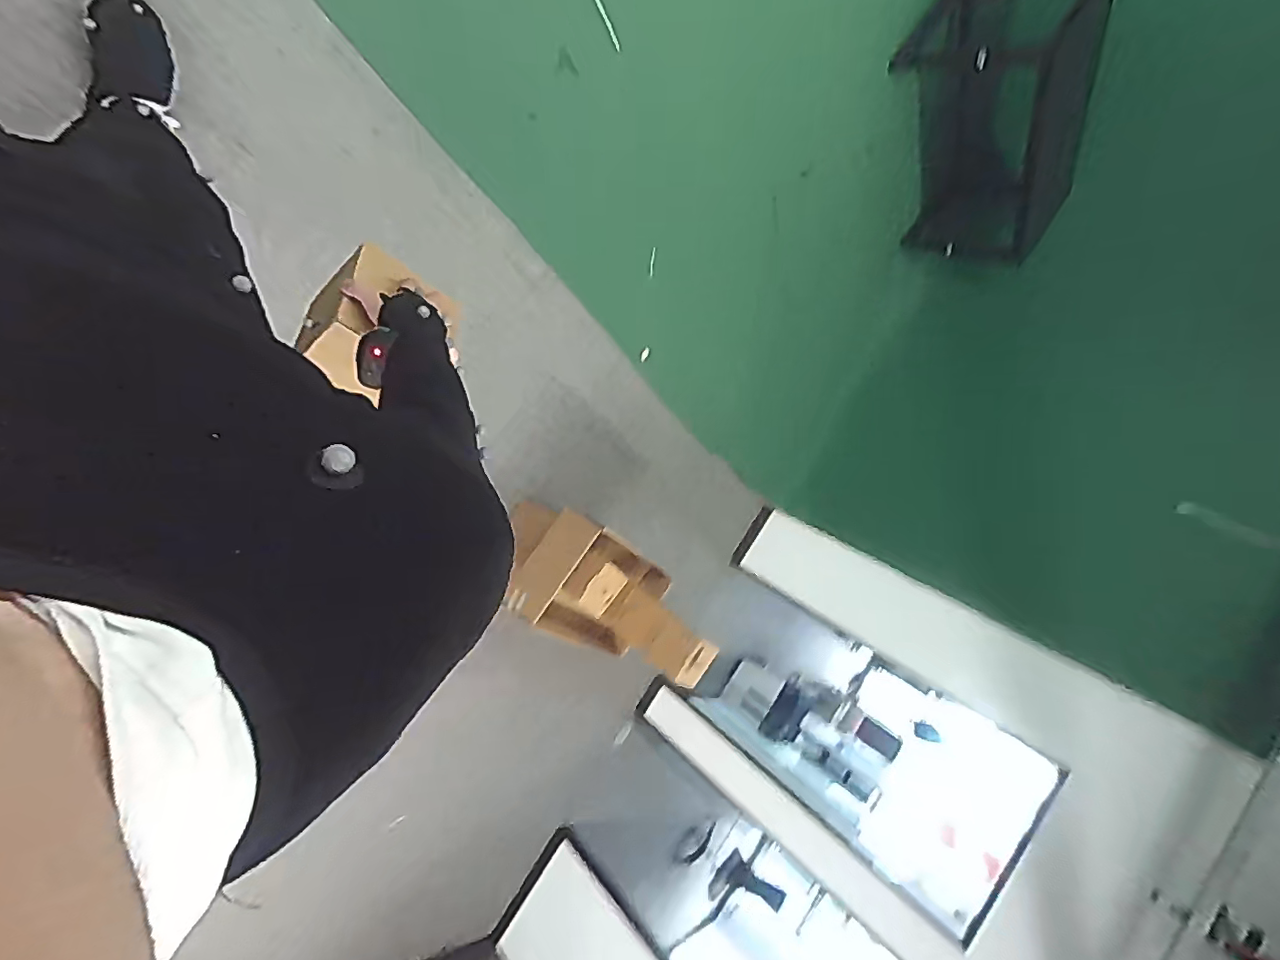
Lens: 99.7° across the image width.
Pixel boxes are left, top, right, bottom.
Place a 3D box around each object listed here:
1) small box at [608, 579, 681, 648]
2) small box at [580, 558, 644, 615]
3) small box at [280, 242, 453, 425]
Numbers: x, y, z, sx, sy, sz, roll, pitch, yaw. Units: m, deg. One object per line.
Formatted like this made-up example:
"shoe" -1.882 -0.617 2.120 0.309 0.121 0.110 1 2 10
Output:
"small box" 0.016 0.487 1.987 0.168 0.176 0.179 -55 142 -5
"small box" -0.095 0.424 2.087 0.168 0.176 0.179 -56 142 -6
"small box" -0.418 -0.213 0.833 0.176 0.179 0.168 -25 142 30
